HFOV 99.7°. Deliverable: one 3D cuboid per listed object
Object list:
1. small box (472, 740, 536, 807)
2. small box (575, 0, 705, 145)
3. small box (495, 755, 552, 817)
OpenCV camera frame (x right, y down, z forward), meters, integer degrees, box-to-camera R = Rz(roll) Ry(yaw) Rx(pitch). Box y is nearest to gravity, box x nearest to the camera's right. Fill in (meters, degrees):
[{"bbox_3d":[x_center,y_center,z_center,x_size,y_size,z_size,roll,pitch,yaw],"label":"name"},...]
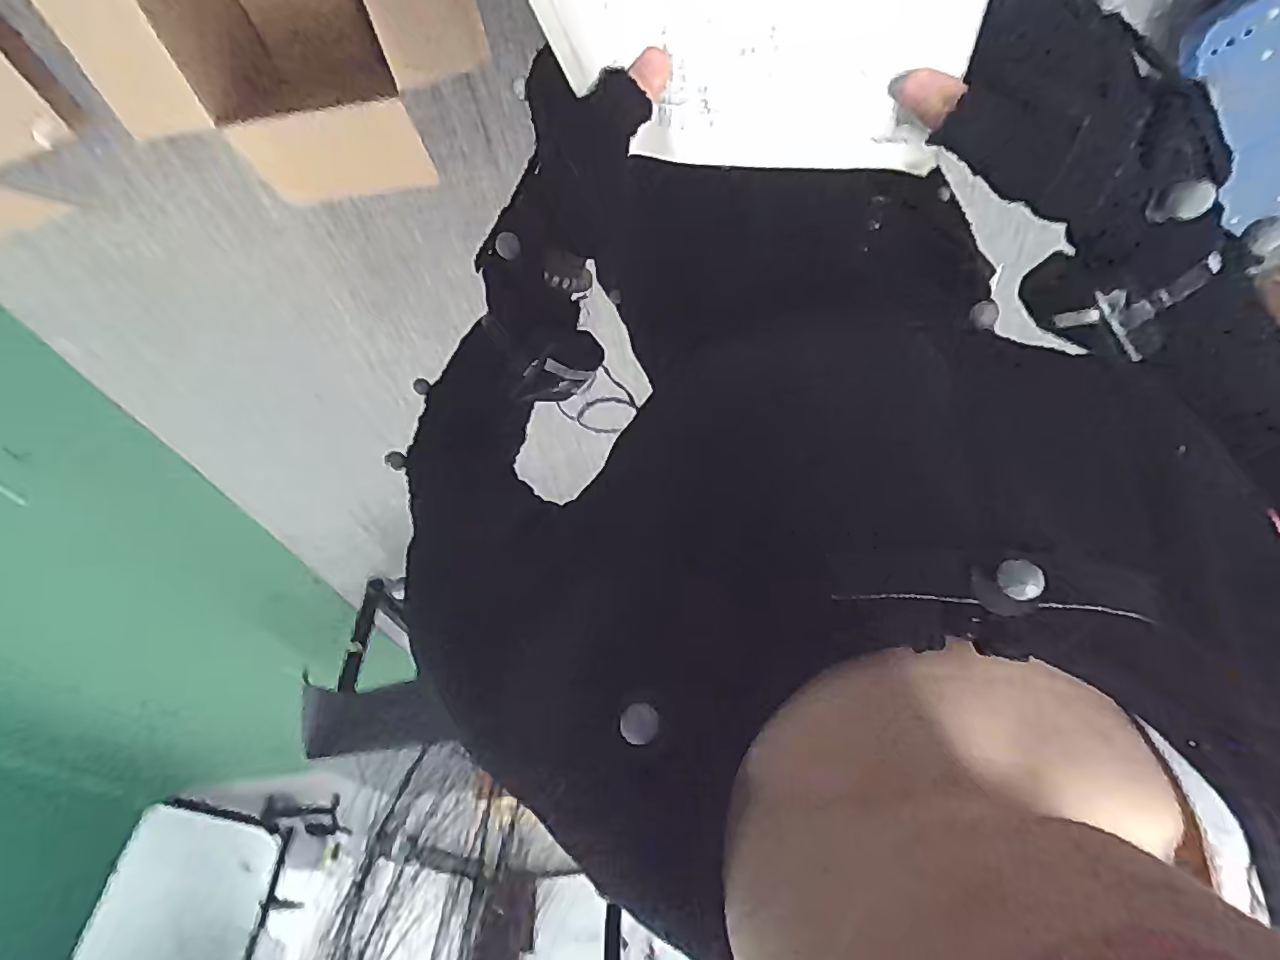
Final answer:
[{"bbox_3d":[-0.462,1.013,1.868,0.168,0.176,0.179,-7,138,3],"label":"small box"},{"bbox_3d":[-0.002,-0.777,1.021,0.168,0.176,0.179,-26,117,36],"label":"small box"},{"bbox_3d":[-0.430,1.144,2.022,0.168,0.176,0.179,-8,138,2],"label":"small box"}]
